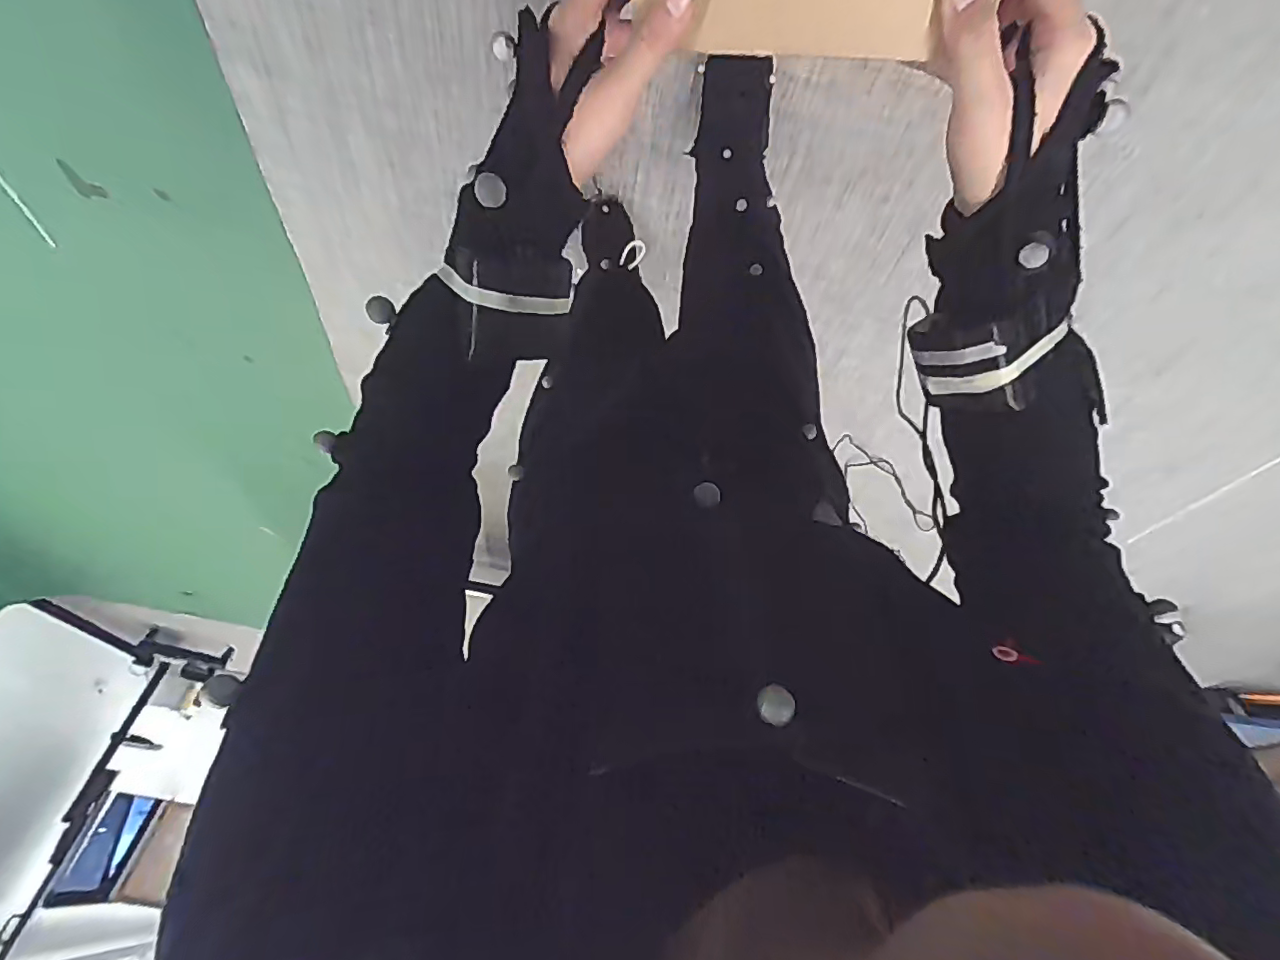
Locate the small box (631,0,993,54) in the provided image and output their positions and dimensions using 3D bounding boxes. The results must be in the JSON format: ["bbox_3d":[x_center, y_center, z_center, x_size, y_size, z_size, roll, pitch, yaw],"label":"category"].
[{"bbox_3d":[0.088,-0.326,0.253,0.168,0.176,0.179,6,137,5],"label":"small box"}]
